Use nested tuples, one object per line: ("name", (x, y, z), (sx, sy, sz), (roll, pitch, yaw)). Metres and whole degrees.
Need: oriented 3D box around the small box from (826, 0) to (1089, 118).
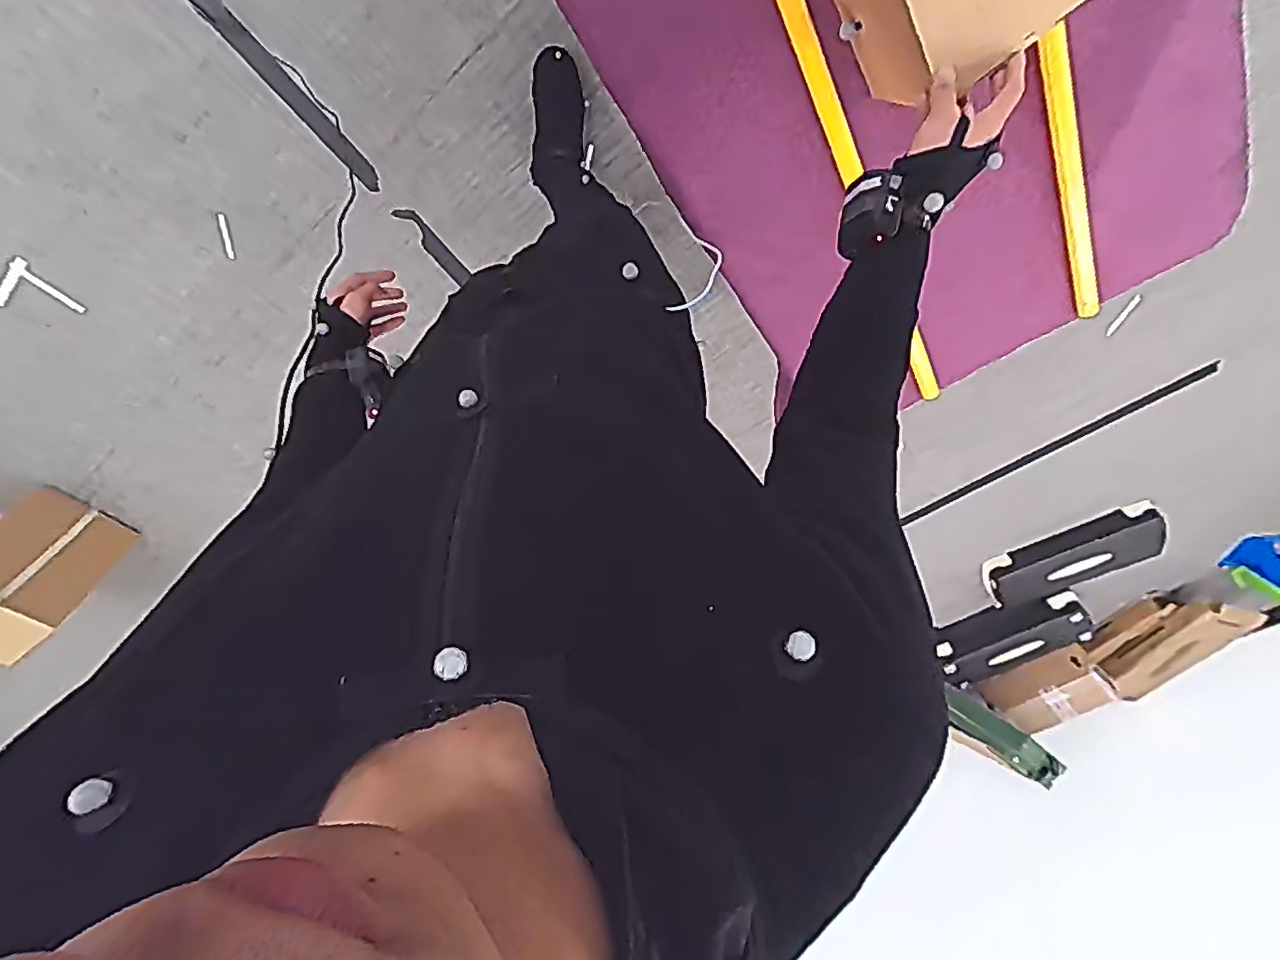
("small box", (0.289, -0.495, 0.515), (0.168, 0.176, 0.179), (-33, 125, 21))
